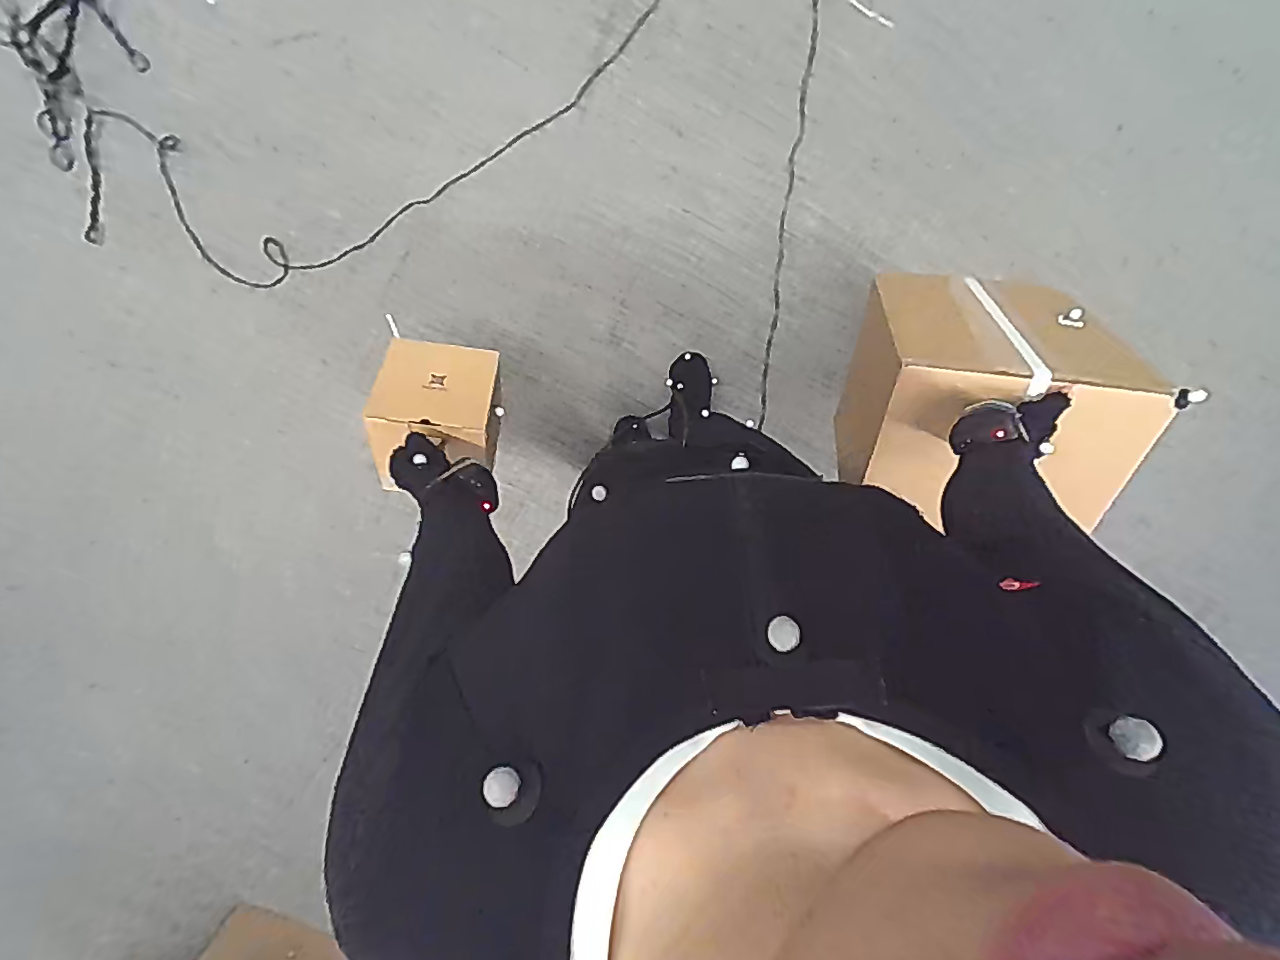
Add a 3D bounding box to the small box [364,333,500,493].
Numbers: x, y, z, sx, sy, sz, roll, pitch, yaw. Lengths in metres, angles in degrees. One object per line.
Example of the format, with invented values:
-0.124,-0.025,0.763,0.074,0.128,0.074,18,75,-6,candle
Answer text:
-0.322,-0.103,0.869,0.168,0.179,0.176,6,143,-11,small box
